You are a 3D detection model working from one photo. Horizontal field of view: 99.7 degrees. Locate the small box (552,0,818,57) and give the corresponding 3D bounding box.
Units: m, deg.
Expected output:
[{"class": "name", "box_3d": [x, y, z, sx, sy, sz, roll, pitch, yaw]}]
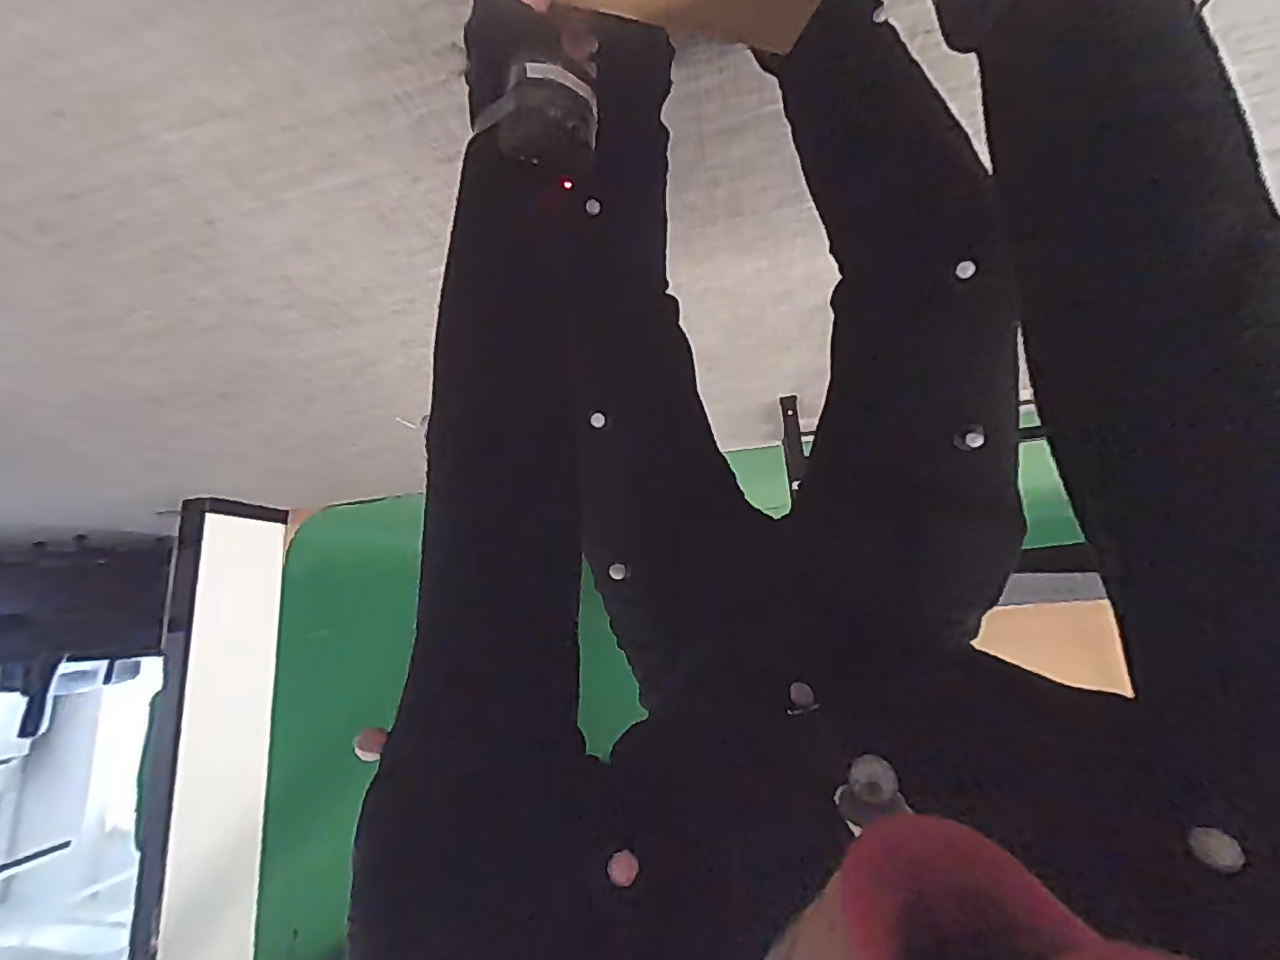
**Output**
[{"class": "small box", "box_3d": [0.038, -0.383, 0.281, 0.168, 0.176, 0.179, -2, 170, -18]}]
